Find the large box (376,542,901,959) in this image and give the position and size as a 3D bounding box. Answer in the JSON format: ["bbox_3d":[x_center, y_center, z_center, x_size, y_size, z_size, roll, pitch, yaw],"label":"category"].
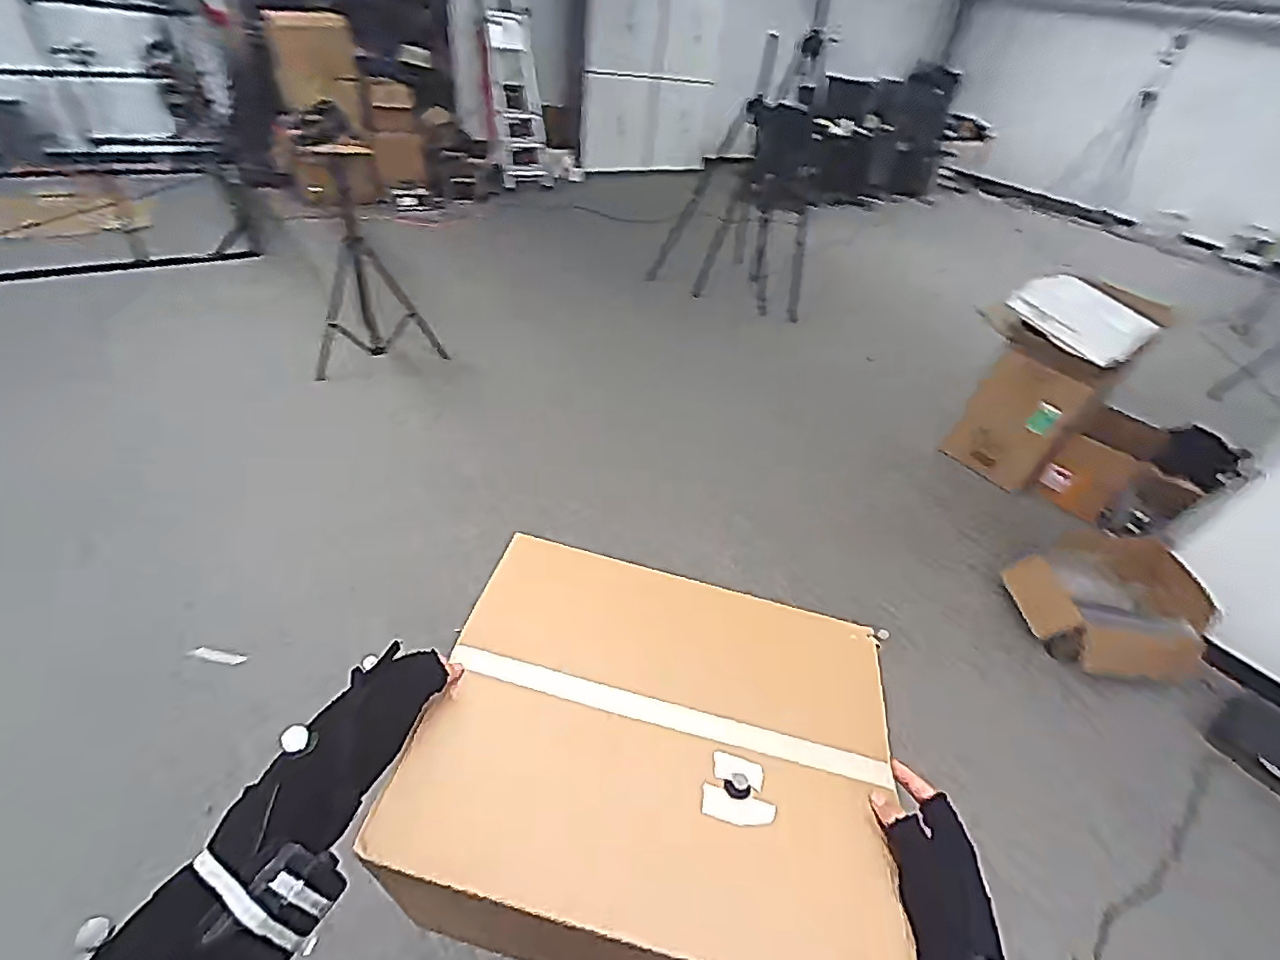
[{"bbox_3d":[-0.002,0.322,0.598,0.408,0.320,0.320,15,43,3],"label":"large box"}]
